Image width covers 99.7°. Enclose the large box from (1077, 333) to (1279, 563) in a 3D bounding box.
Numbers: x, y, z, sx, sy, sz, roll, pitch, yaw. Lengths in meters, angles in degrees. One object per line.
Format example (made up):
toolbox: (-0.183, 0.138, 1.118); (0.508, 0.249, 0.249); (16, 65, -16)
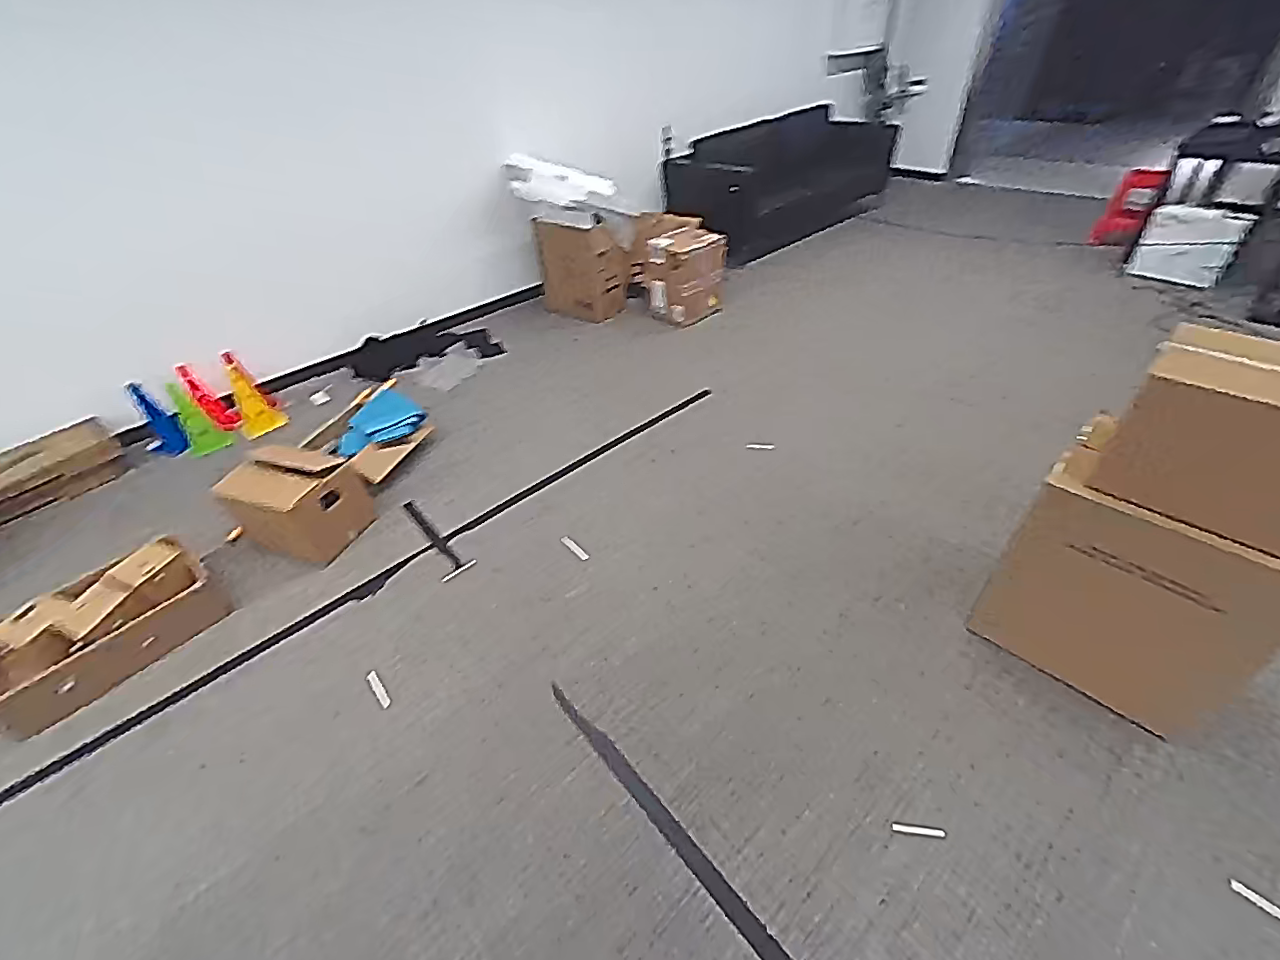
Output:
large box: (1.301, -0.083, 1.197); (0.320, 0.320, 0.408); (-35, 49, -30)
